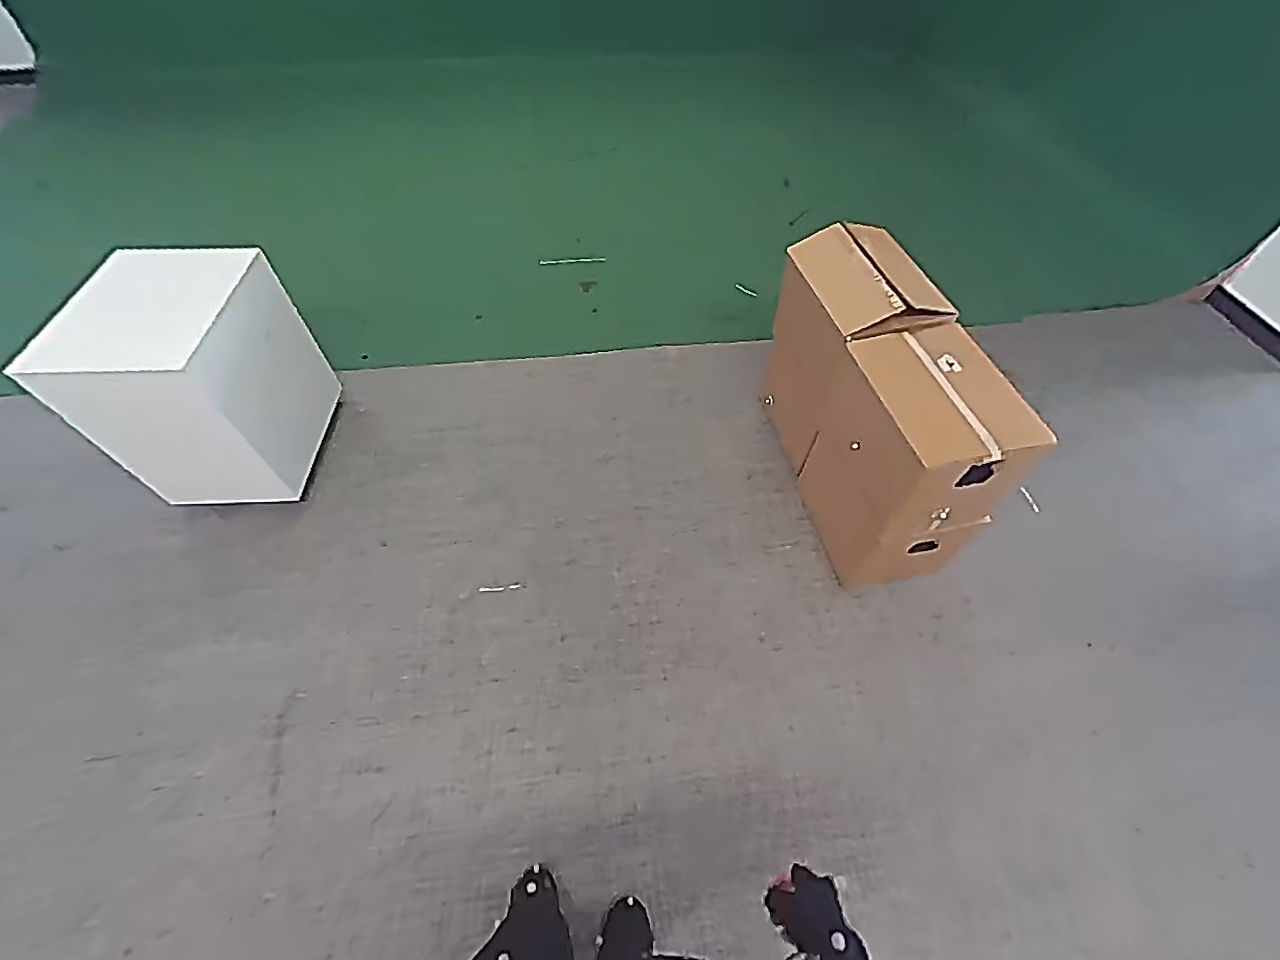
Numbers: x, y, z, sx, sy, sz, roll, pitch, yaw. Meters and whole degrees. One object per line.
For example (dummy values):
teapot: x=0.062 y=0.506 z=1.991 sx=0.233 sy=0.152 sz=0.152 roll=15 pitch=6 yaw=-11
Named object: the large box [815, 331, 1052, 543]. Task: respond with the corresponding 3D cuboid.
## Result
large box: x=0.693 y=-0.108 z=1.364 sx=0.320 sy=0.320 sz=0.408 roll=-11 pitch=53 yaw=-6
